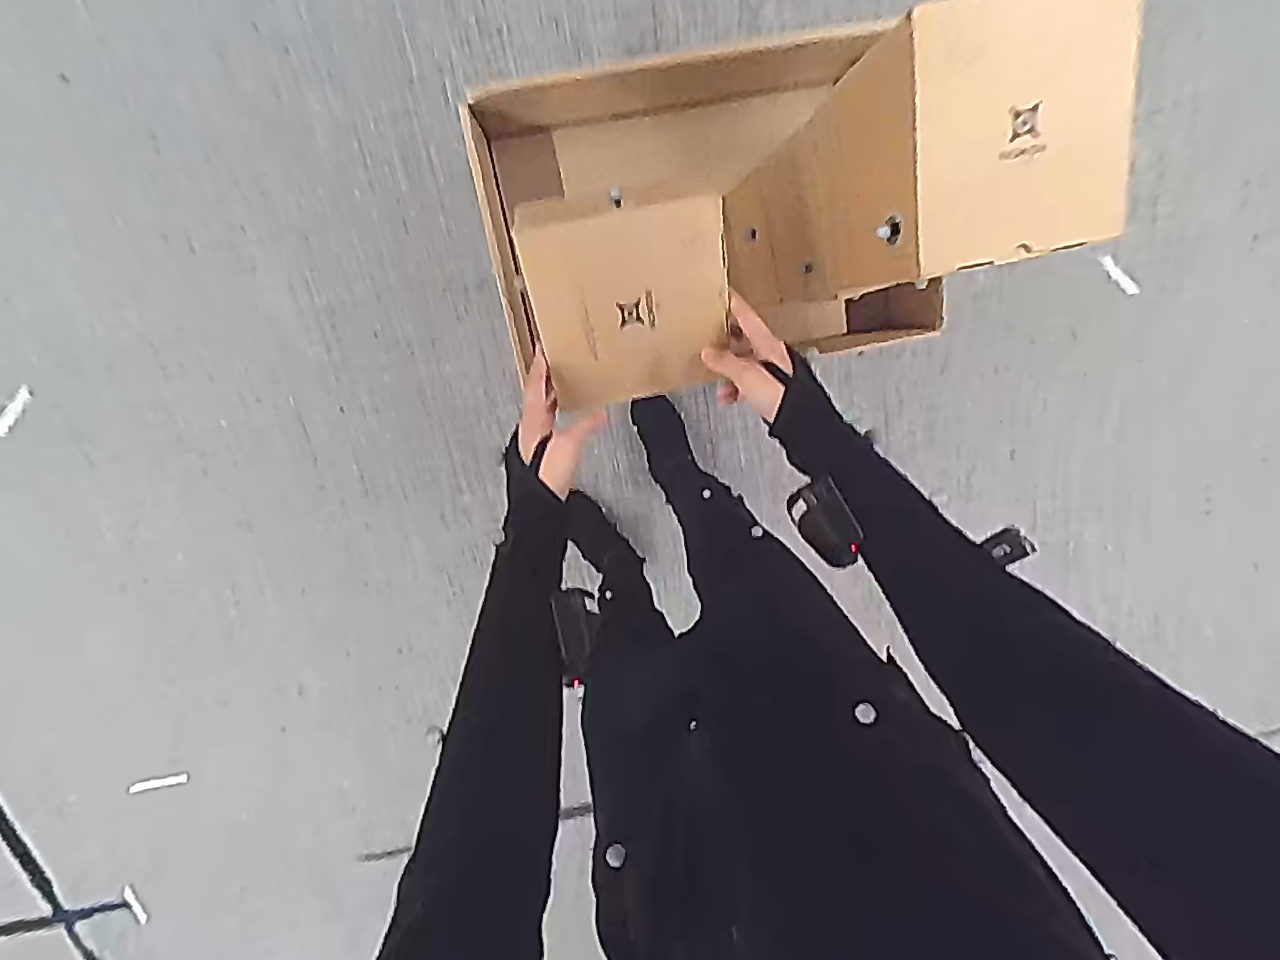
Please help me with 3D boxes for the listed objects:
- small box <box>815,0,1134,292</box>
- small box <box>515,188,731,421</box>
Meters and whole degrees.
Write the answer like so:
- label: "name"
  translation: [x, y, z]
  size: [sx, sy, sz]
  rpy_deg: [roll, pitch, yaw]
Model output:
- label: "small box"
  translation: [0.263, -0.269, 0.464]
  size: [0.168, 0.176, 0.179]
  rpy_deg: [-12, 107, -2]
- label: "small box"
  translation: [-0.021, -0.184, 0.543]
  size: [0.179, 0.176, 0.168]
  rpy_deg: [-13, 124, -4]
